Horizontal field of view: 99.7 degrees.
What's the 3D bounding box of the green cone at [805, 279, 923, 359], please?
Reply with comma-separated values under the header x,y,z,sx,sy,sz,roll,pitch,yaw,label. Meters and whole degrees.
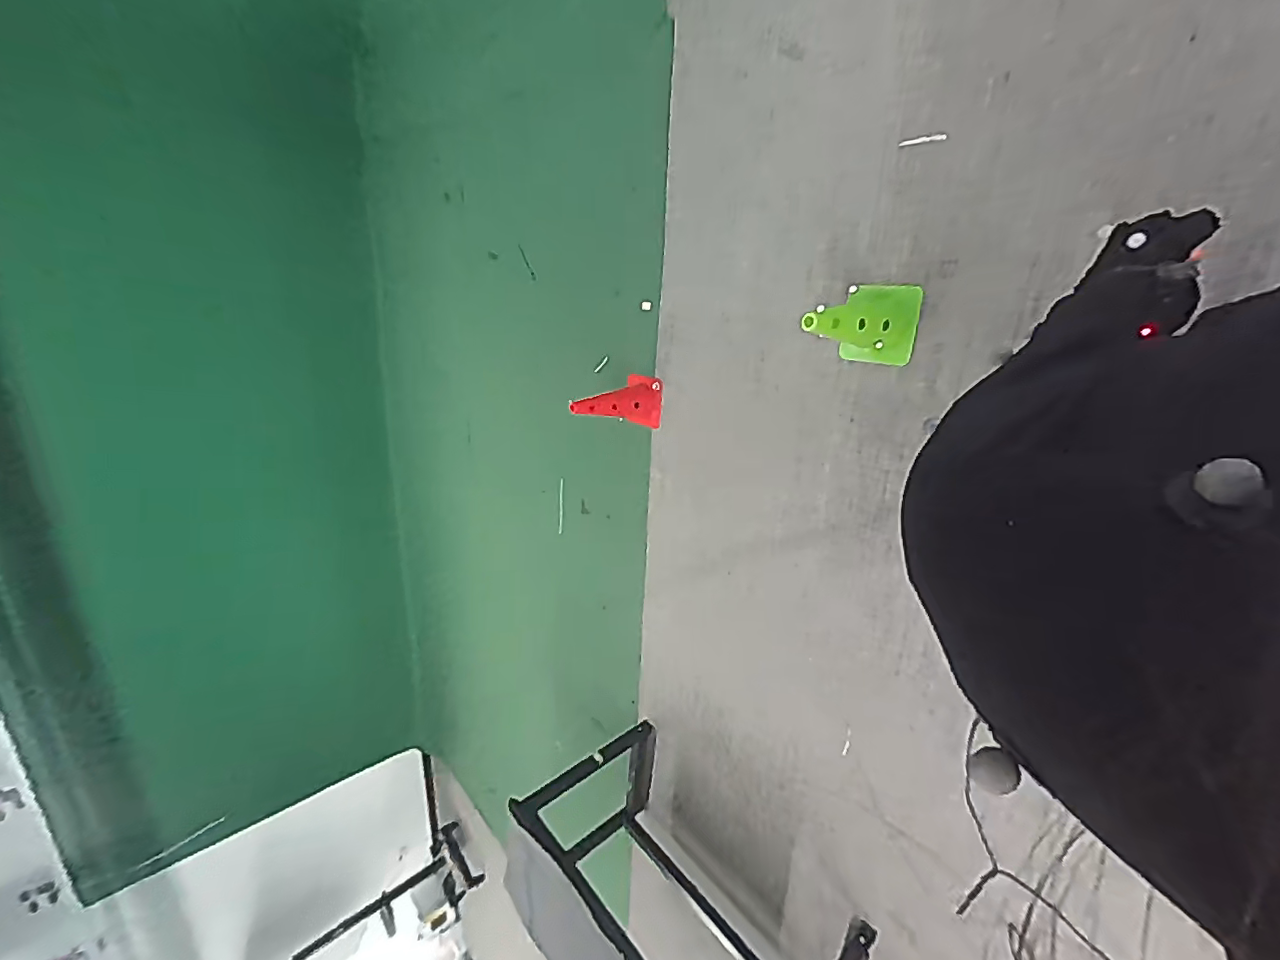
x,y,z,sx,sy,sz,roll,pitch,yaw,label
0.517,-0.399,1.338,0.202,0.368,0.200,19,115,44,green cone
